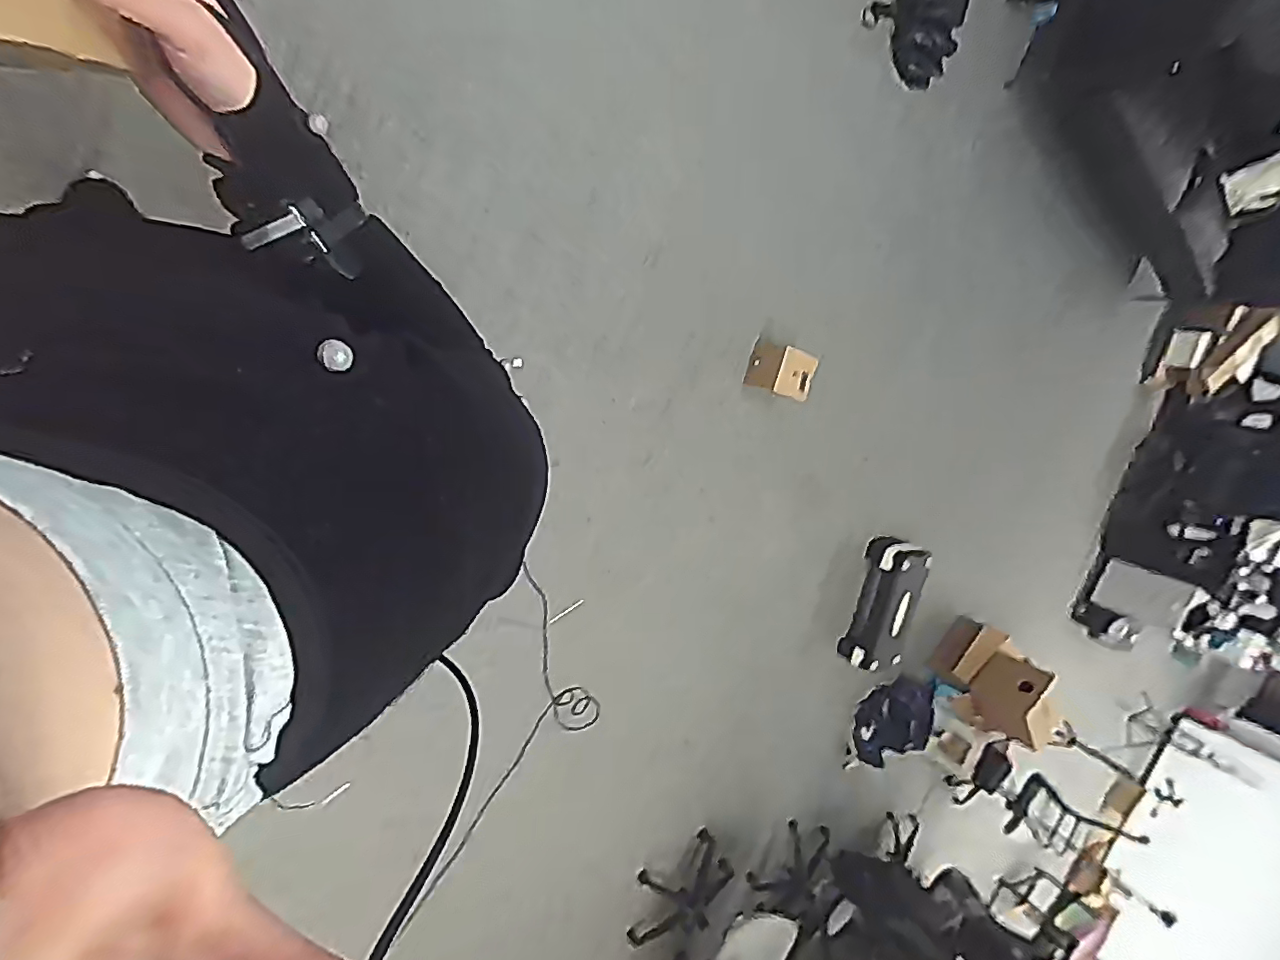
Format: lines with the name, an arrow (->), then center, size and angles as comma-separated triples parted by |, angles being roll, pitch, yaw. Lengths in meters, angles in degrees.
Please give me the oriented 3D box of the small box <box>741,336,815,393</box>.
small box -> 0.508, -0.431, 2.006 | 0.179, 0.176, 0.168 | 9, 101, -34
